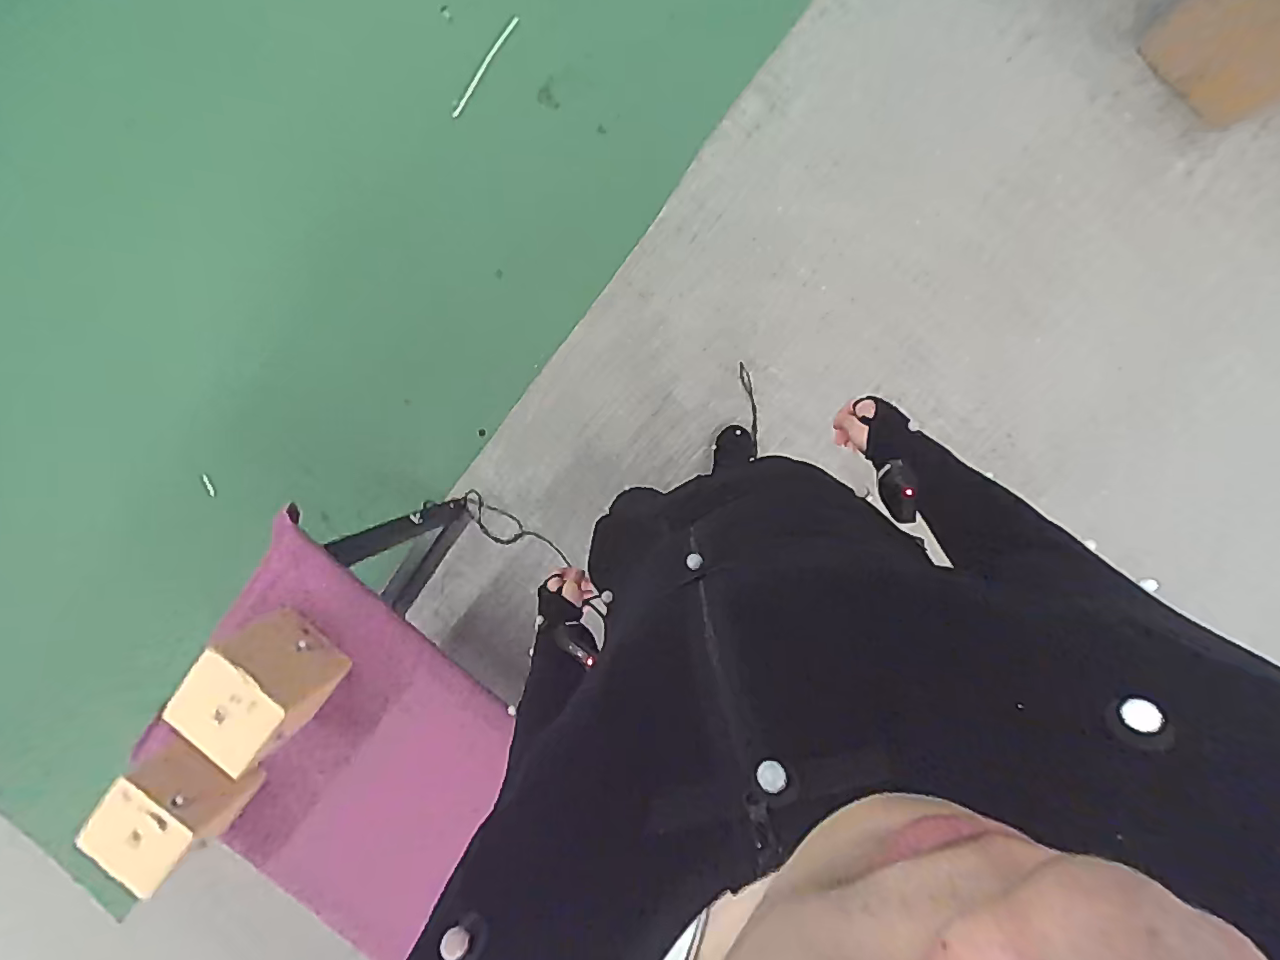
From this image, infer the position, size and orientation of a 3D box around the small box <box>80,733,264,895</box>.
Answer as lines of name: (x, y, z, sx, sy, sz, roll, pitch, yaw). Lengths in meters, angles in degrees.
small box: (-0.864, 0.606, 1.016, 0.168, 0.176, 0.179, 39, 99, -1)

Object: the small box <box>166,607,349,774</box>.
small box: (-0.663, 0.362, 0.956, 0.168, 0.176, 0.179, 41, 102, 0)
